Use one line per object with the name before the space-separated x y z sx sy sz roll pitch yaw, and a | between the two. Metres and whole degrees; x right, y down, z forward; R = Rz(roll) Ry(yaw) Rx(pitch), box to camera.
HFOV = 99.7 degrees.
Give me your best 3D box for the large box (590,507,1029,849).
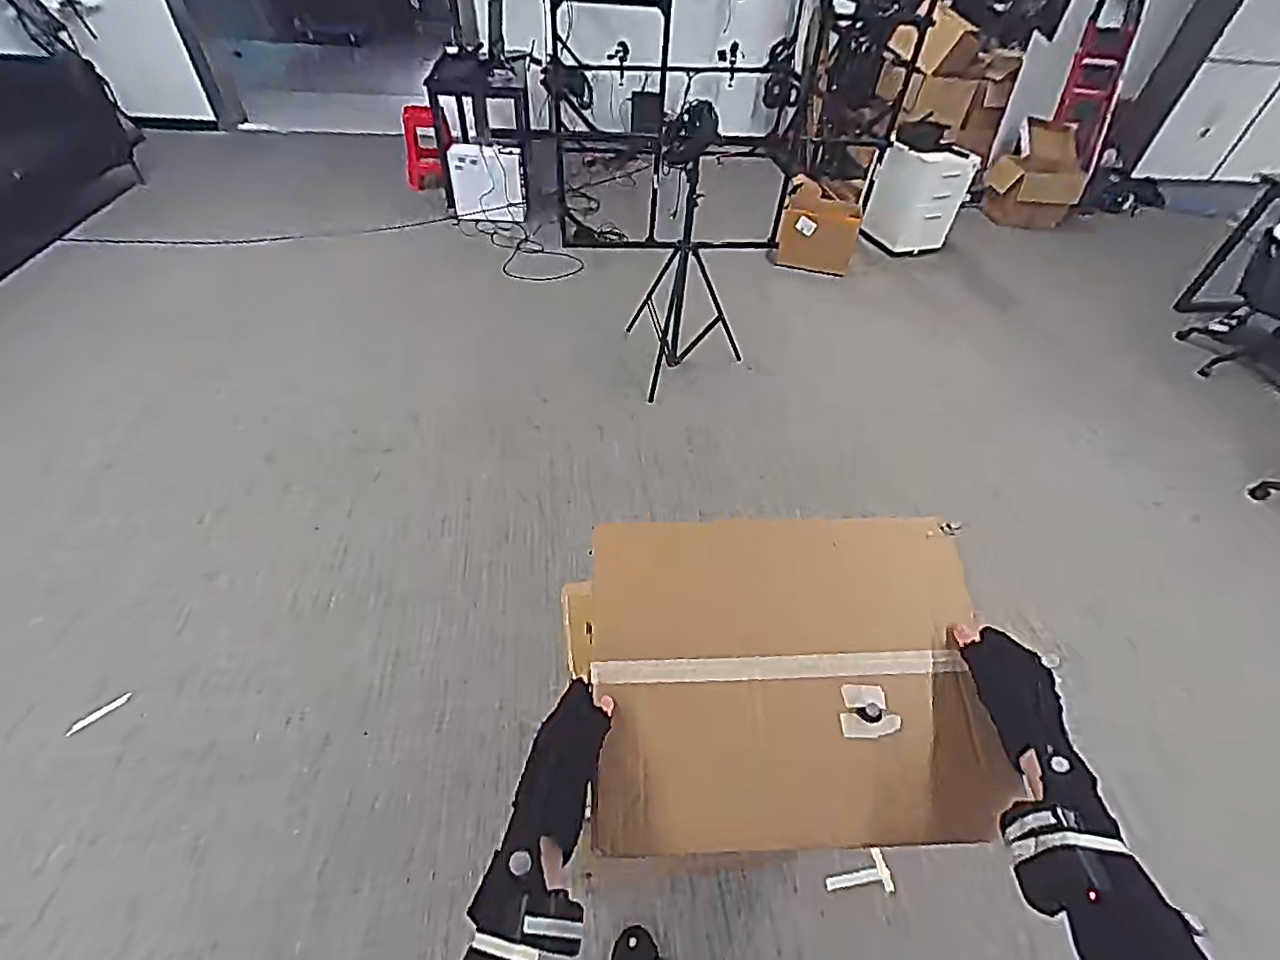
large box | 0.147 0.241 0.682 0.408 0.320 0.320 -2 66 -3
